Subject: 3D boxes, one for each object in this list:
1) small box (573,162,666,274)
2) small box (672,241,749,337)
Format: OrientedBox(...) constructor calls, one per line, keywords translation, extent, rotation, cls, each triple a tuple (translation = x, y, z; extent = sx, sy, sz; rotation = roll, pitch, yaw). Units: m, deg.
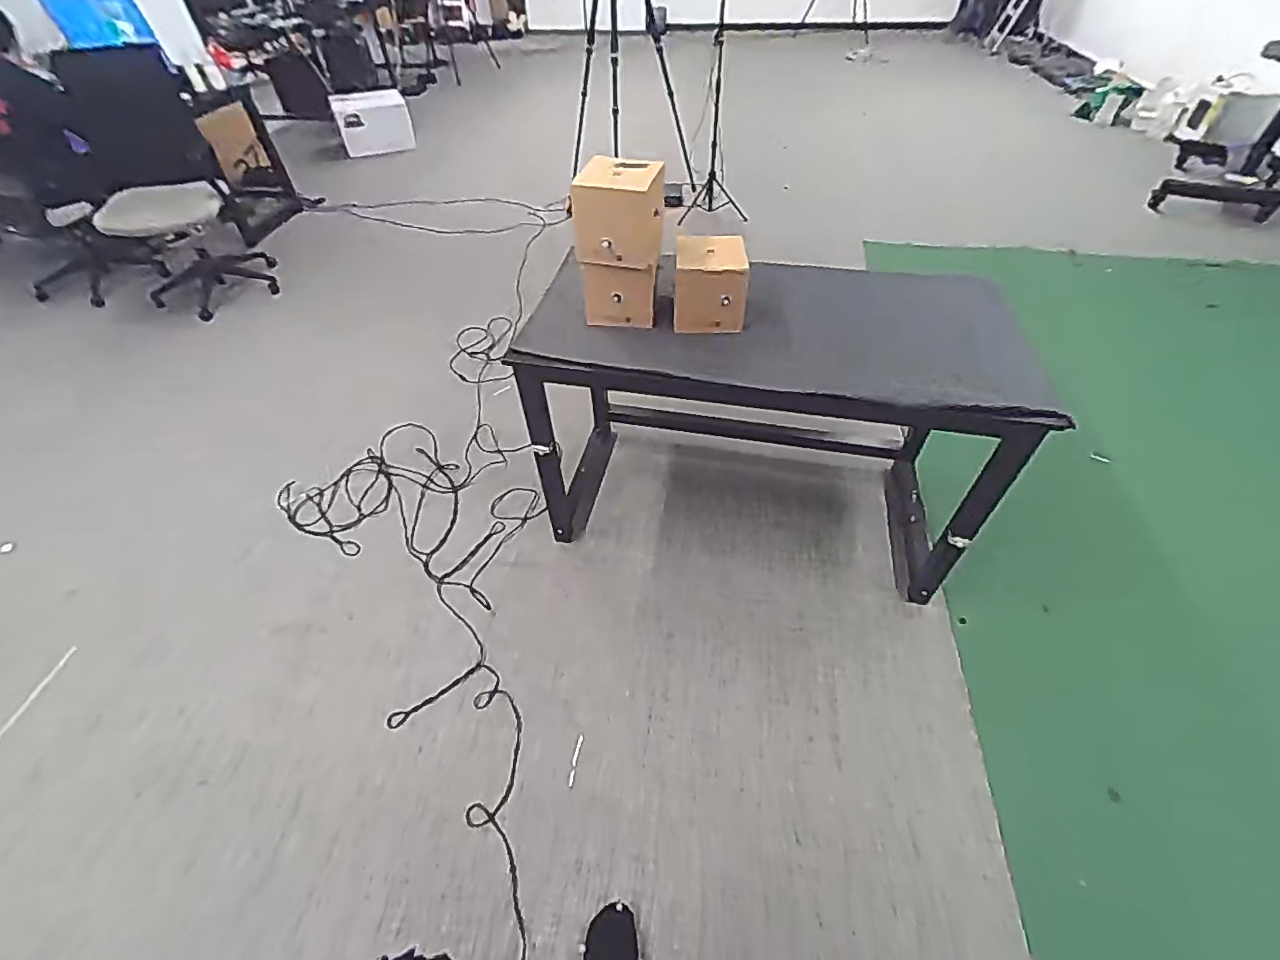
OrientedBox(translation=(-0.043, -0.589, 1.217), extent=(0.168, 0.176, 0.179), rotation=(11, 49, 10), cls="small box")
OrientedBox(translation=(0.167, -0.467, 1.326), extent=(0.168, 0.176, 0.179), rotation=(2, 47, 1), cls="small box")
